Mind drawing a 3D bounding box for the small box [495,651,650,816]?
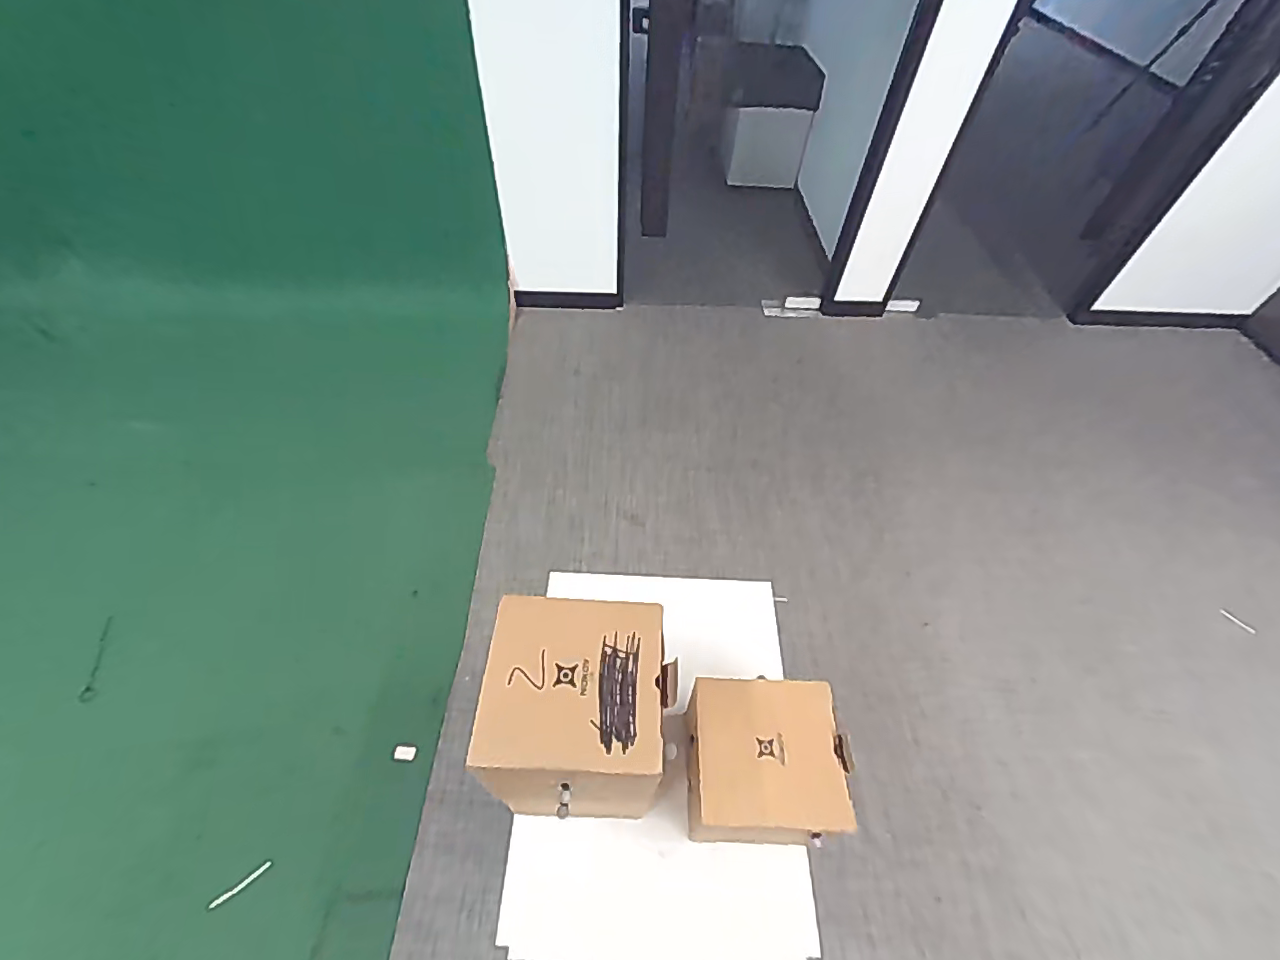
[{"bbox_3d":[-0.079,0.341,0.719,0.179,0.176,0.168,3,52,-2],"label":"small box"}]
